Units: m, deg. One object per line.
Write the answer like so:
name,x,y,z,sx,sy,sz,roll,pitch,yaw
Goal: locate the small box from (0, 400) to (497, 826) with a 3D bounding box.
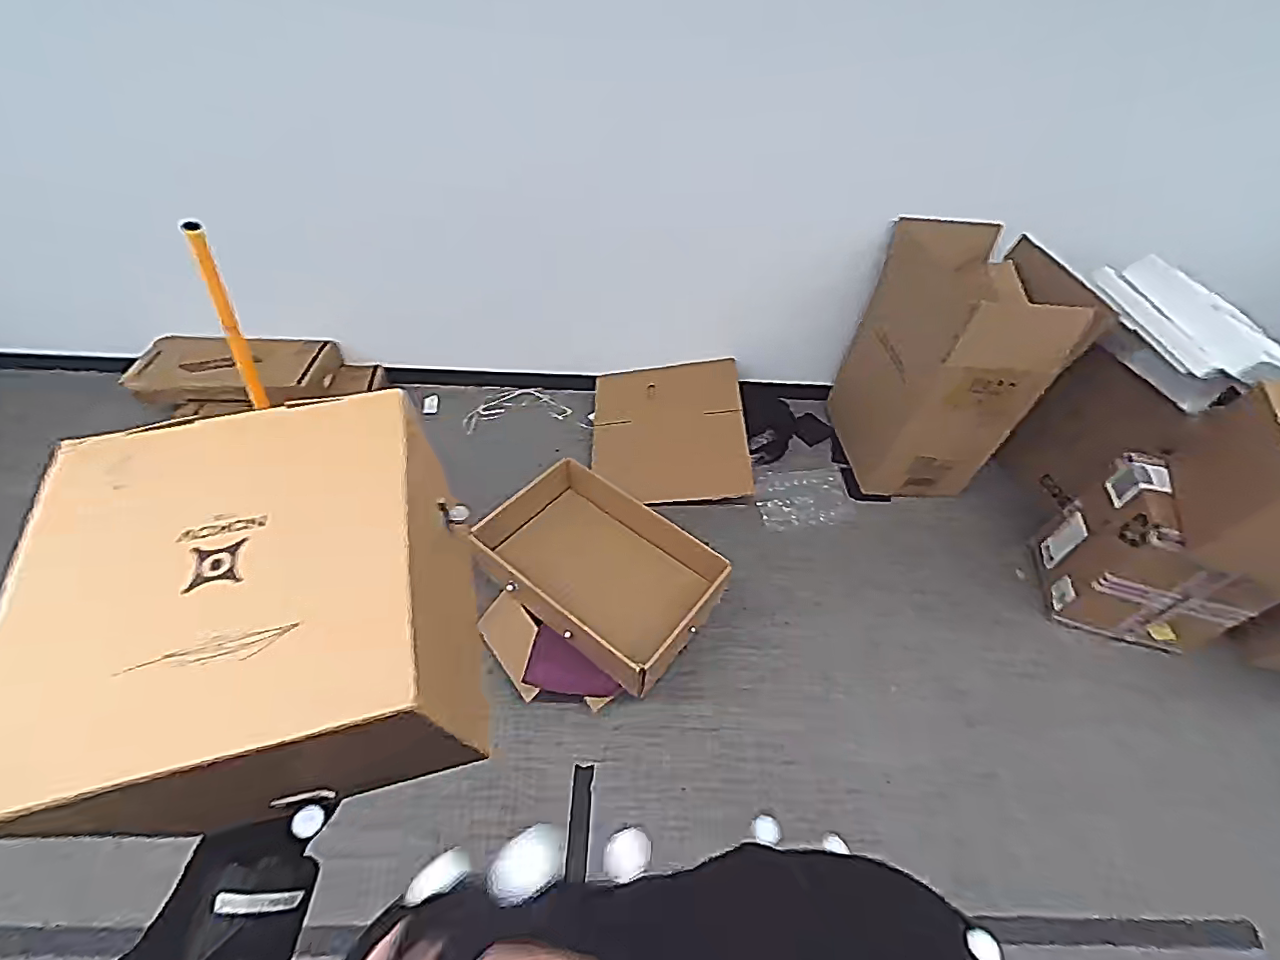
small box,-0.188,0.083,0.319,0.168,0.176,0.179,-12,59,-10
